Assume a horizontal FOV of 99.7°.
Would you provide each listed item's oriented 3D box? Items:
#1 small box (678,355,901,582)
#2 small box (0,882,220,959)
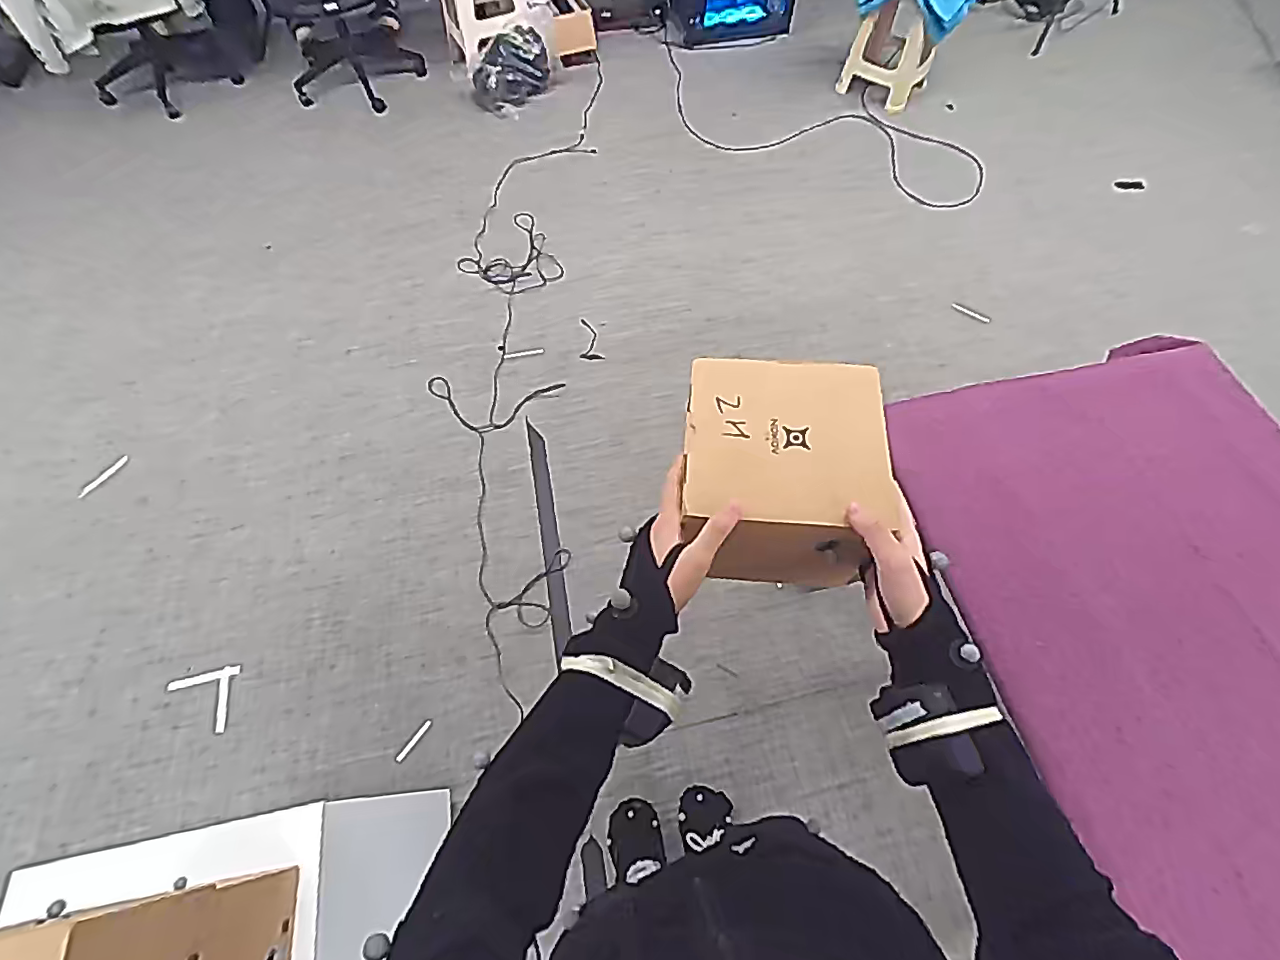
[{"bbox_3d":[0.132,-0.002,0.538,0.179,0.176,0.168,4,63,5],"label":"small box"},{"bbox_3d":[-0.510,0.463,0.451,0.179,0.176,0.168,-8,63,-5],"label":"small box"}]
